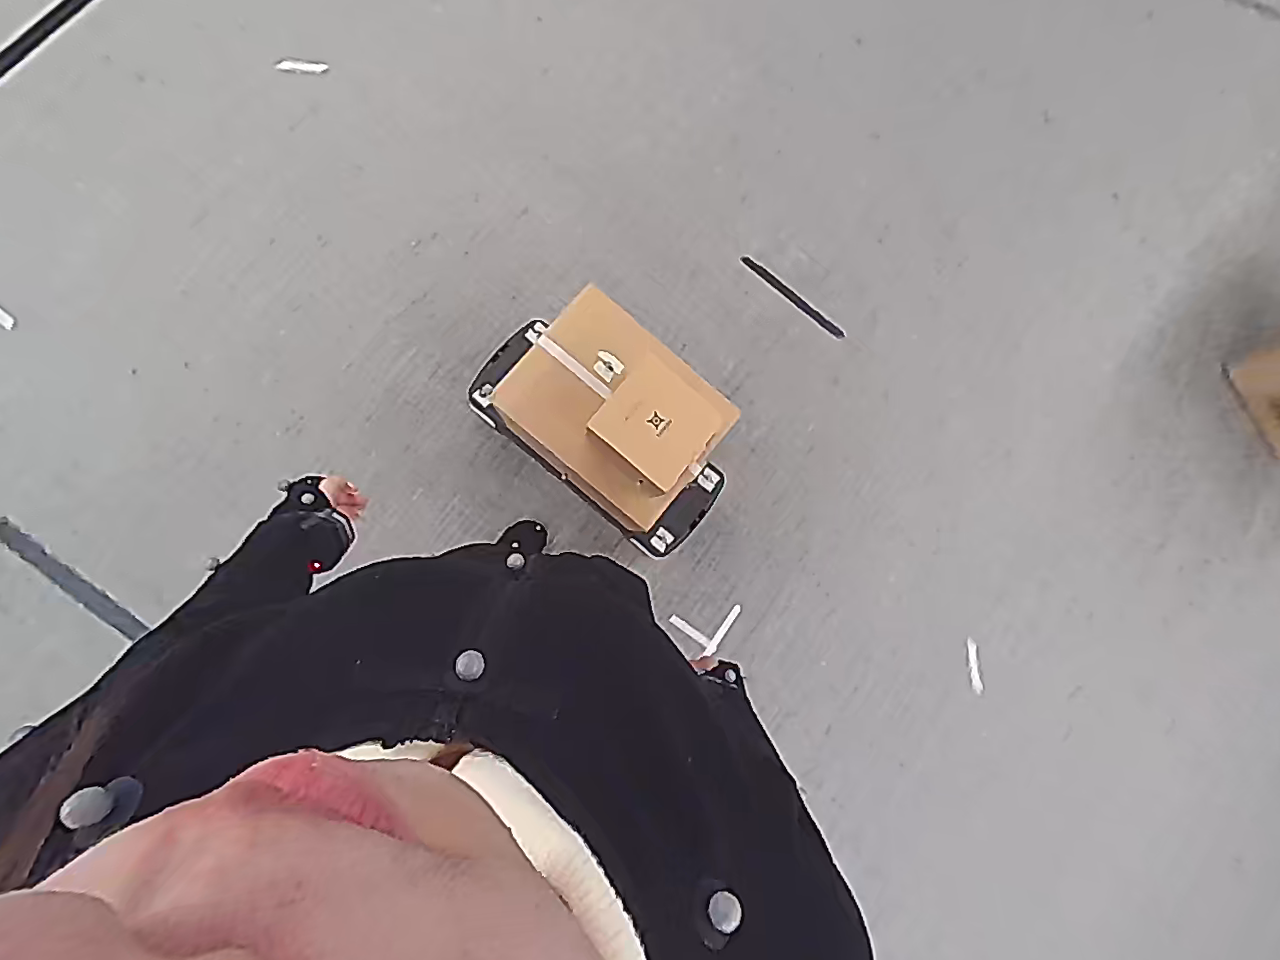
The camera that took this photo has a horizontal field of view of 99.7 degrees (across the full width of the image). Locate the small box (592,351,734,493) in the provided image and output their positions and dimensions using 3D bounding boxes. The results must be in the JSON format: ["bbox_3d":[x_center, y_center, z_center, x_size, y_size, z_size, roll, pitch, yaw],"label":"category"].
[{"bbox_3d":[0.032,-0.092,0.952,0.179,0.176,0.168,41,83,-2],"label":"small box"}]

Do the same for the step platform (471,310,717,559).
[{"bbox_3d":[-0.118,-0.112,1.424,0.684,0.204,0.286,45,82,-1],"label":"step platform"}]

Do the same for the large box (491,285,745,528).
[{"bbox_3d":[-0.050,-0.133,1.194,0.408,0.320,0.320,40,81,-1],"label":"large box"}]
